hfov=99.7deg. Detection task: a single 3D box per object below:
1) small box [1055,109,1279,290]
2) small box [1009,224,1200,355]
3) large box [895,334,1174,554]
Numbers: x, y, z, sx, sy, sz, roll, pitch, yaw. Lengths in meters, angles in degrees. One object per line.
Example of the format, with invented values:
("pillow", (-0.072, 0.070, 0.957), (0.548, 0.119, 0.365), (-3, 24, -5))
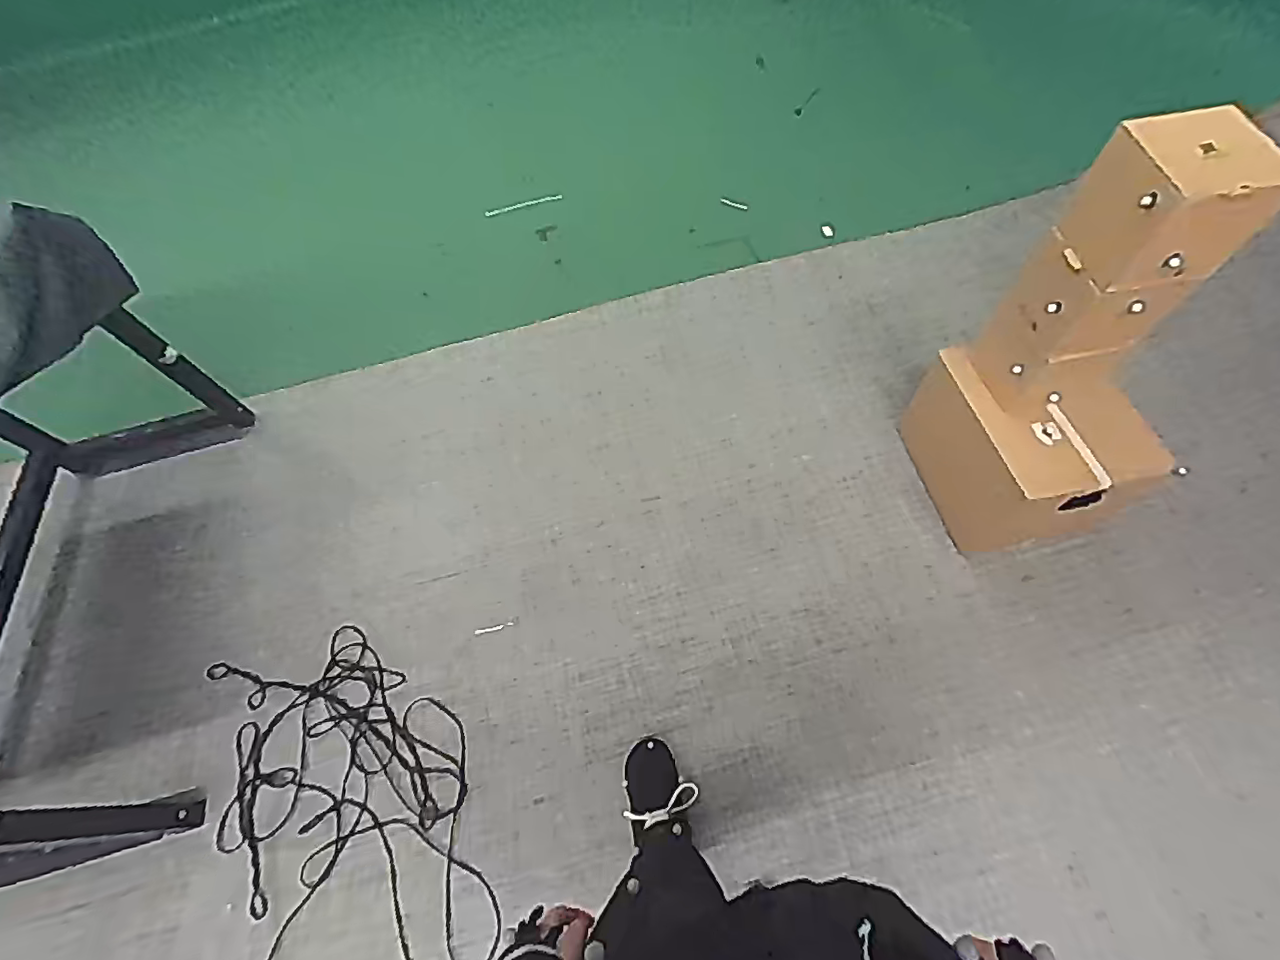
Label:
("small box", (0.791, -0.421, 0.824), (0.168, 0.176, 0.179), (-8, 63, 1))
("small box", (0.805, -0.344, 0.968), (0.179, 0.176, 0.168), (-9, 63, 0))
("large box", (0.878, -0.085, 1.284), (0.320, 0.320, 0.408), (-13, 62, 0))
